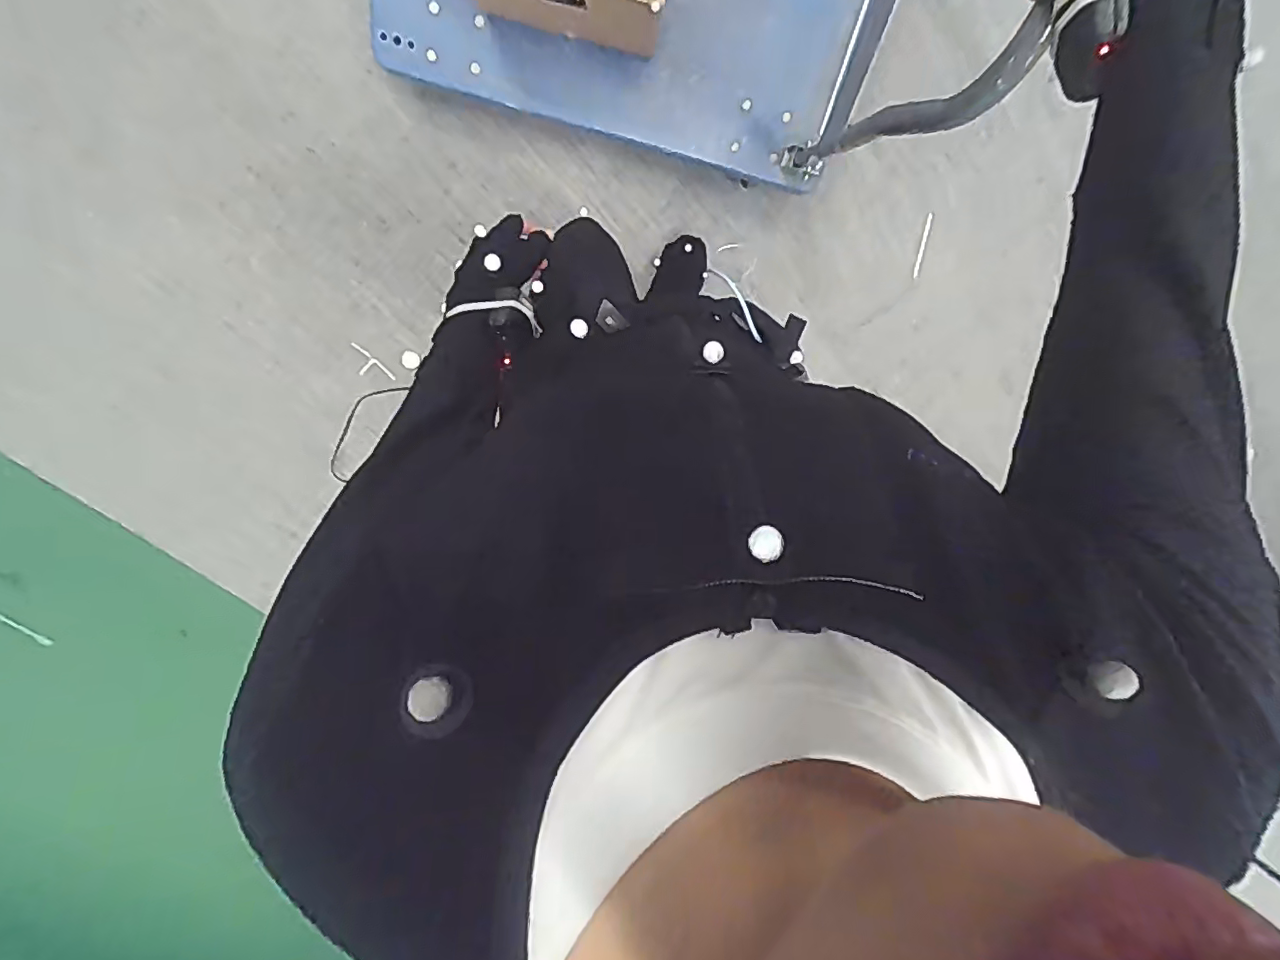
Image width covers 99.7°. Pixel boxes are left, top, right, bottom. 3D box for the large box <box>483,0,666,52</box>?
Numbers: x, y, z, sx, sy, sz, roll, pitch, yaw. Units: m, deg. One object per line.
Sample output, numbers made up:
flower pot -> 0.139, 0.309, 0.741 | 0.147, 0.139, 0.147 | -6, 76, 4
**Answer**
large box -> -0.080, -0.901, 0.743 | 0.320, 0.320, 0.408 | 11, 118, -5
